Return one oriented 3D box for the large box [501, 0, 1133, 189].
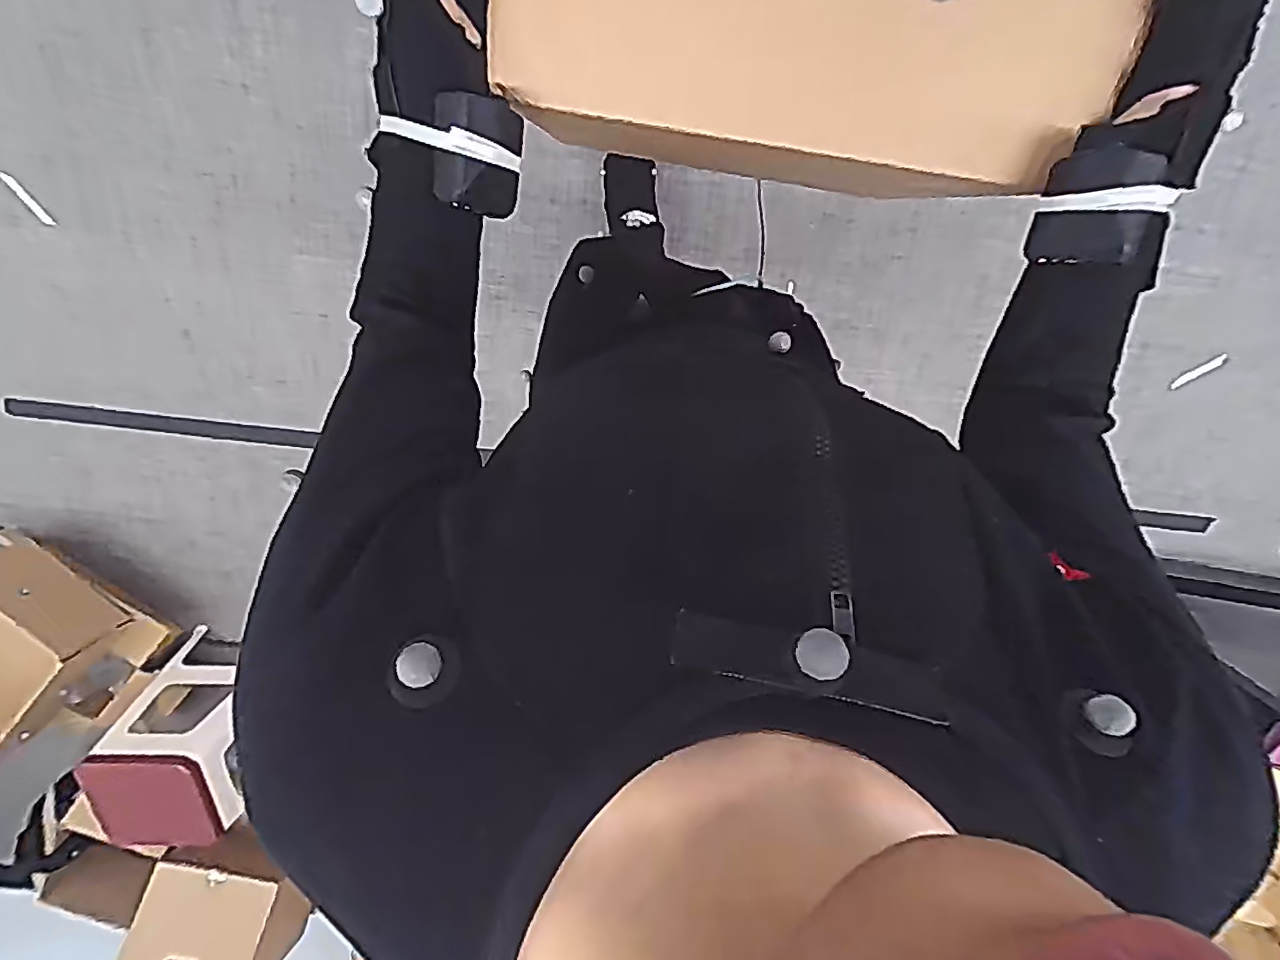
[{"bbox_3d":[0.119,-0.437,0.437,0.408,0.320,0.320,7,118,-4],"label":"large box"}]
